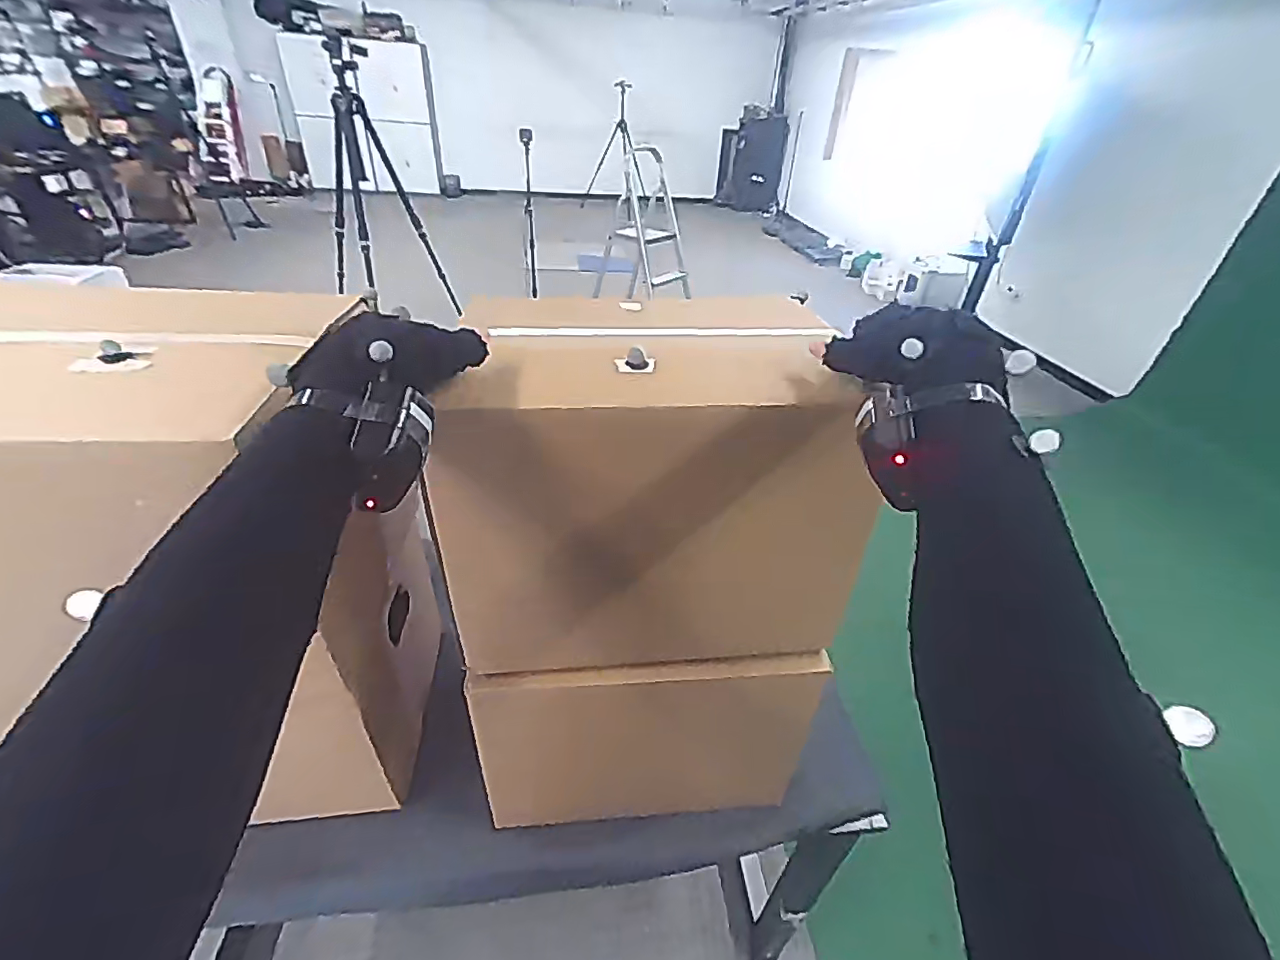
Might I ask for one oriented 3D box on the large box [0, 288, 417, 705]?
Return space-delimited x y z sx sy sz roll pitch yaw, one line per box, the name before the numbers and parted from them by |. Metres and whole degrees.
large box | -0.495 0.007 0.566 0.408 0.320 0.320 1 37 -8
